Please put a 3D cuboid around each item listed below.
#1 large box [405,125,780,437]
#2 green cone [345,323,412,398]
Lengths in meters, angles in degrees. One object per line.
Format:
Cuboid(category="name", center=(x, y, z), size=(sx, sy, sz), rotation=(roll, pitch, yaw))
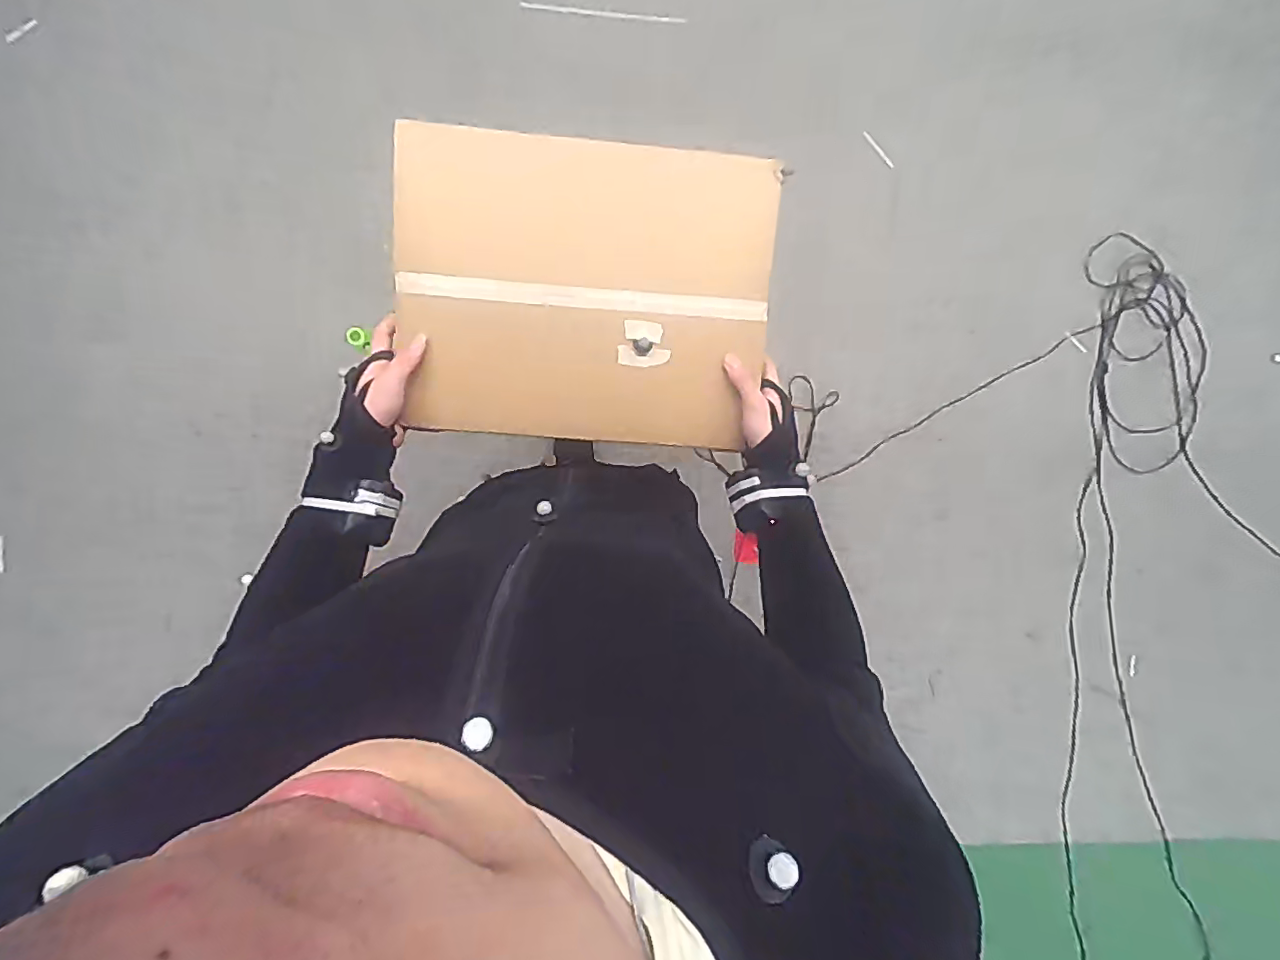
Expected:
Cuboid(category="large box", center=(-0.064, -0.236, 0.743), size=(0.408, 0.320, 0.320), rotation=(3, 102, -4))
Cuboid(category="green cone", center=(-0.659, -0.329, 1.387), size=(0.200, 0.368, 0.202), rotation=(8, 93, -5))
